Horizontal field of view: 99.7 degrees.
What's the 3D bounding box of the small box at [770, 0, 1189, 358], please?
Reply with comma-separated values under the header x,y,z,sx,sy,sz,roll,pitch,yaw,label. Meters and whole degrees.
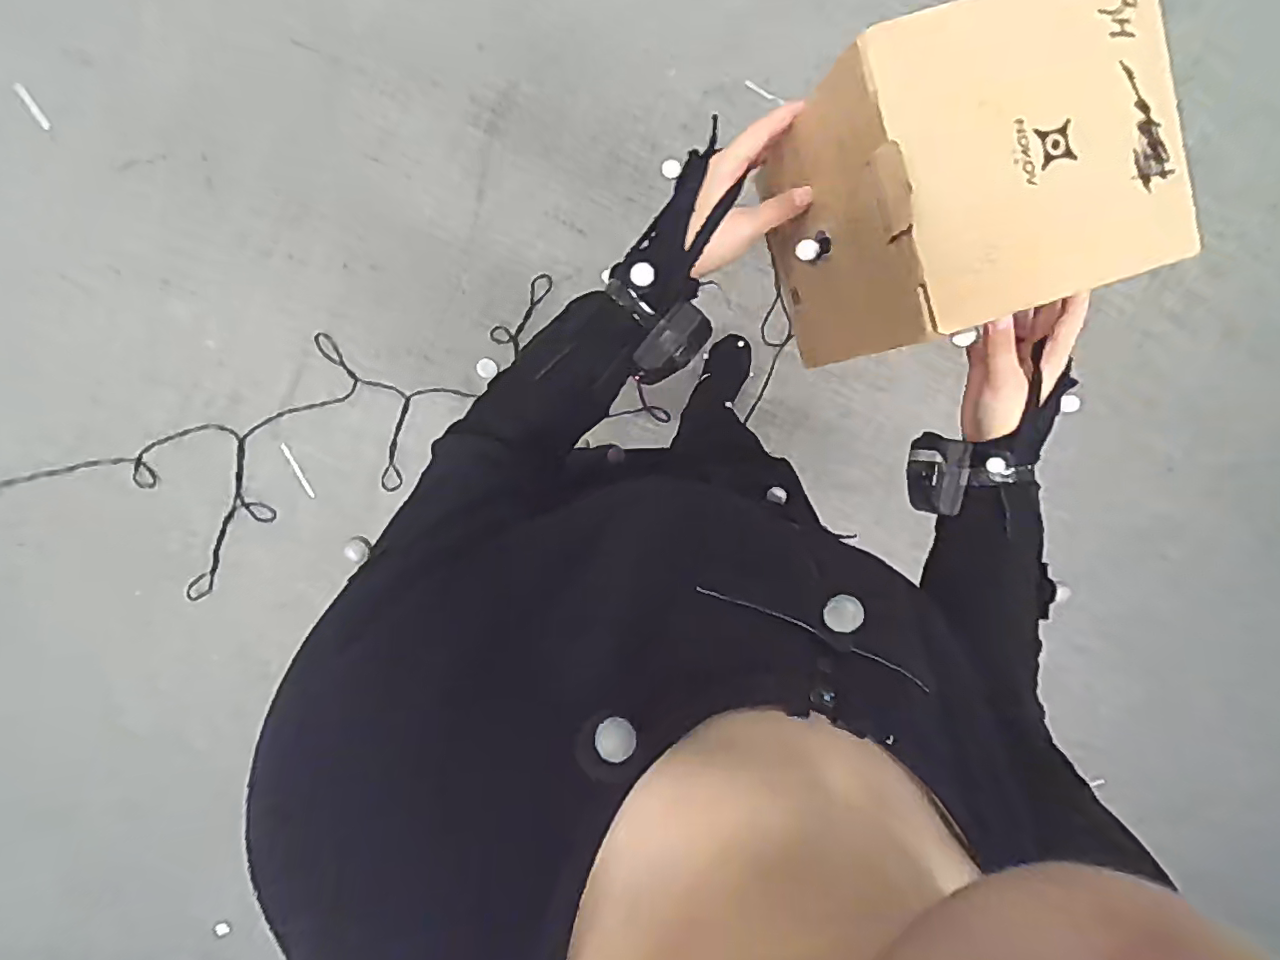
x,y,z,sx,sy,sz,roll,pitch,yaw,label
0.207,-0.195,0.381,0.179,0.176,0.168,-19,97,-4,small box
